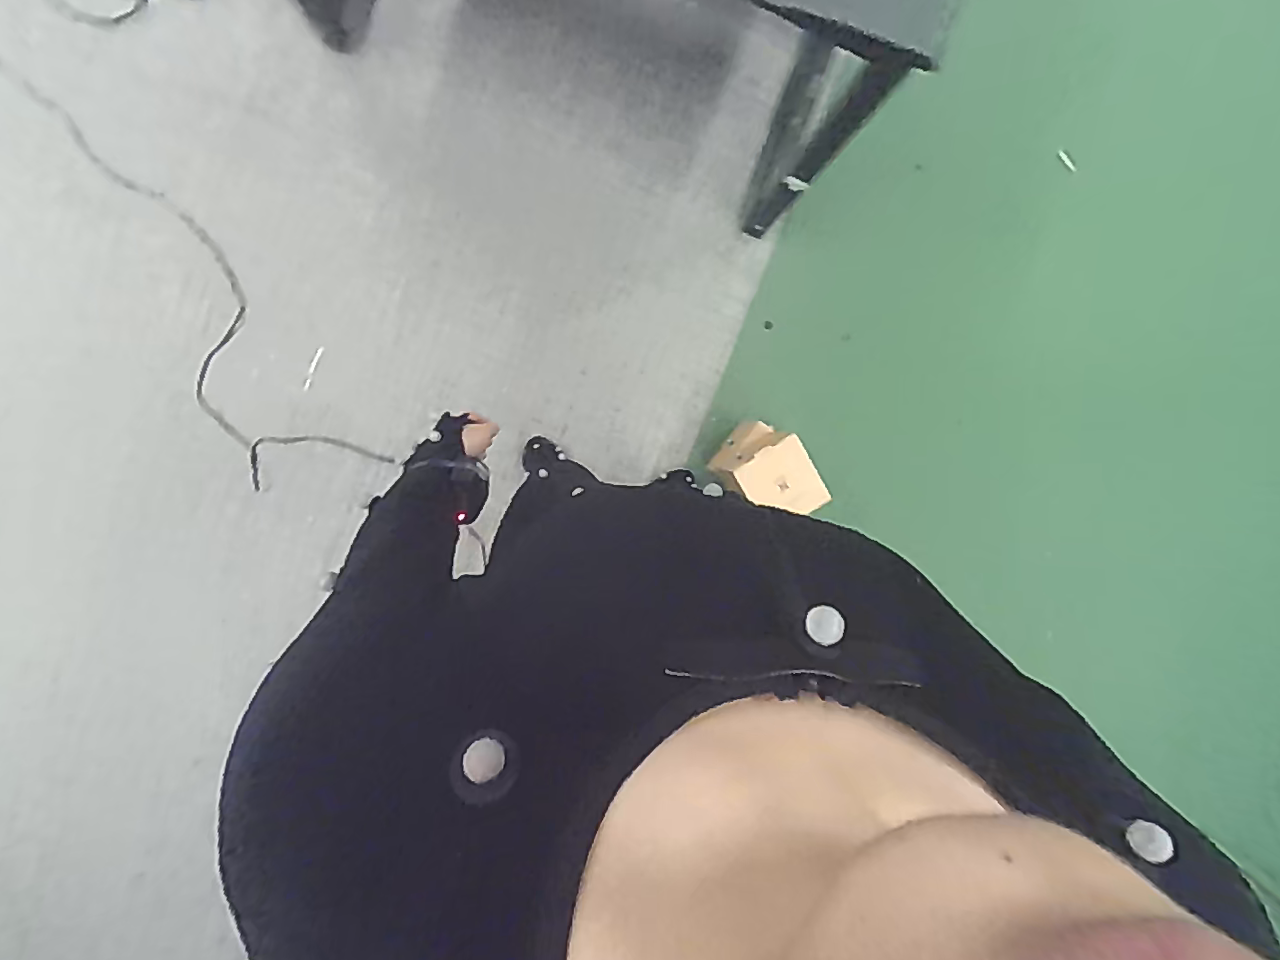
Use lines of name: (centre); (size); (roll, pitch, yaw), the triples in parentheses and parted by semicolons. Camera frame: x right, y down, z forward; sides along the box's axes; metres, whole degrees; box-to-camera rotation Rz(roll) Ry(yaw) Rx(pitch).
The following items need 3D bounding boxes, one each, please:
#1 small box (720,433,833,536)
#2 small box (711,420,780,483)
small box: (0.308, 0.004, 1.259); (0.168, 0.176, 0.179); (-32, 98, 0)
small box: (0.310, -0.039, 1.420); (0.179, 0.176, 0.168); (37, 92, -8)
